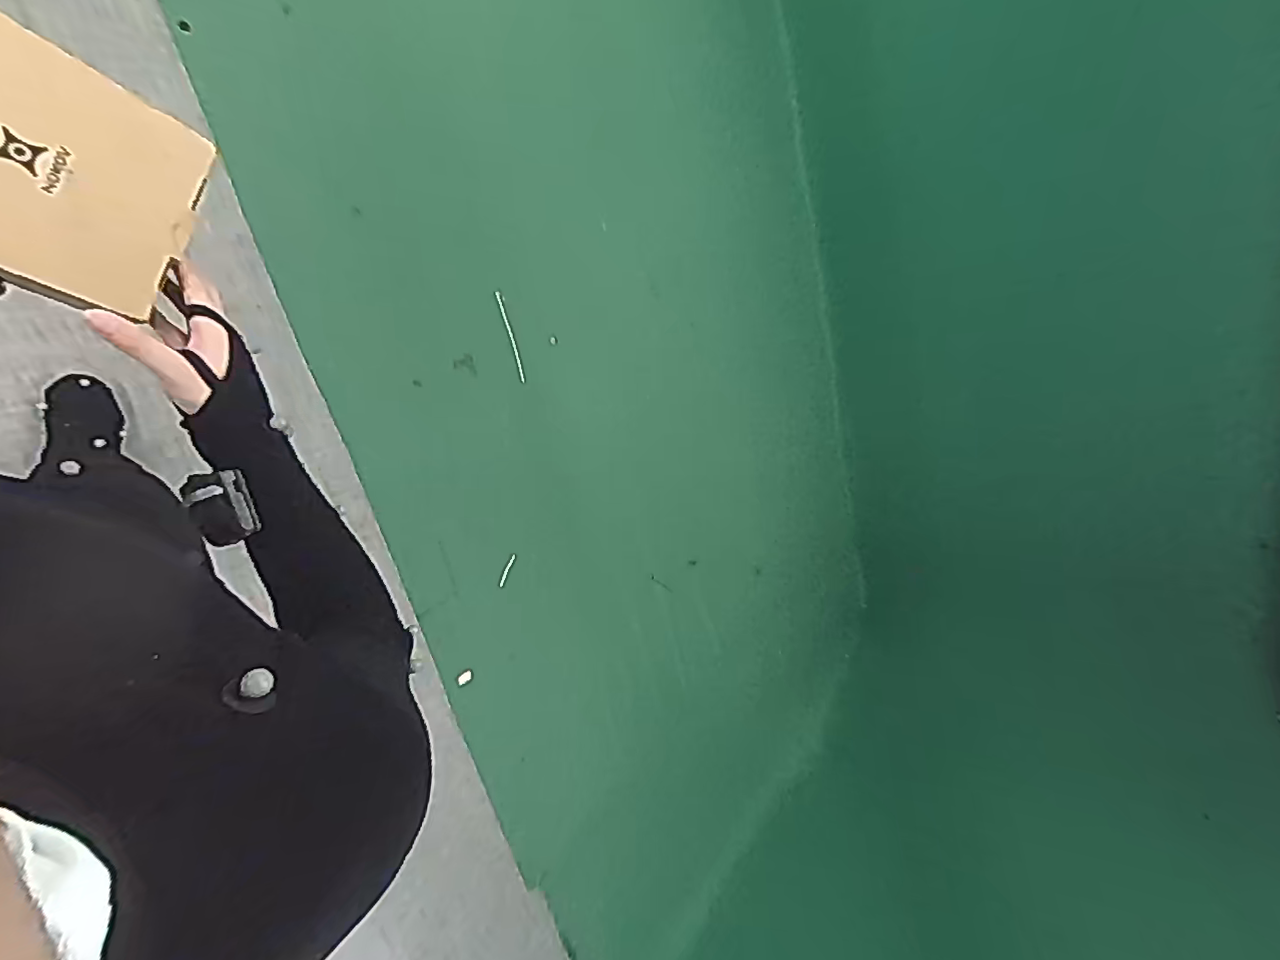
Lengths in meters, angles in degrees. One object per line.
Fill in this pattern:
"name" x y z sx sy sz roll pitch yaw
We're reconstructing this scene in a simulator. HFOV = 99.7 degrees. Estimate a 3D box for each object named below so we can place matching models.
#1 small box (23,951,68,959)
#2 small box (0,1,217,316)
"small box" -1.169 1.048 1.019 0.168 0.176 0.179 -47 123 -35
"small box" -0.493 -0.249 0.435 0.179 0.176 0.168 24 81 -50
